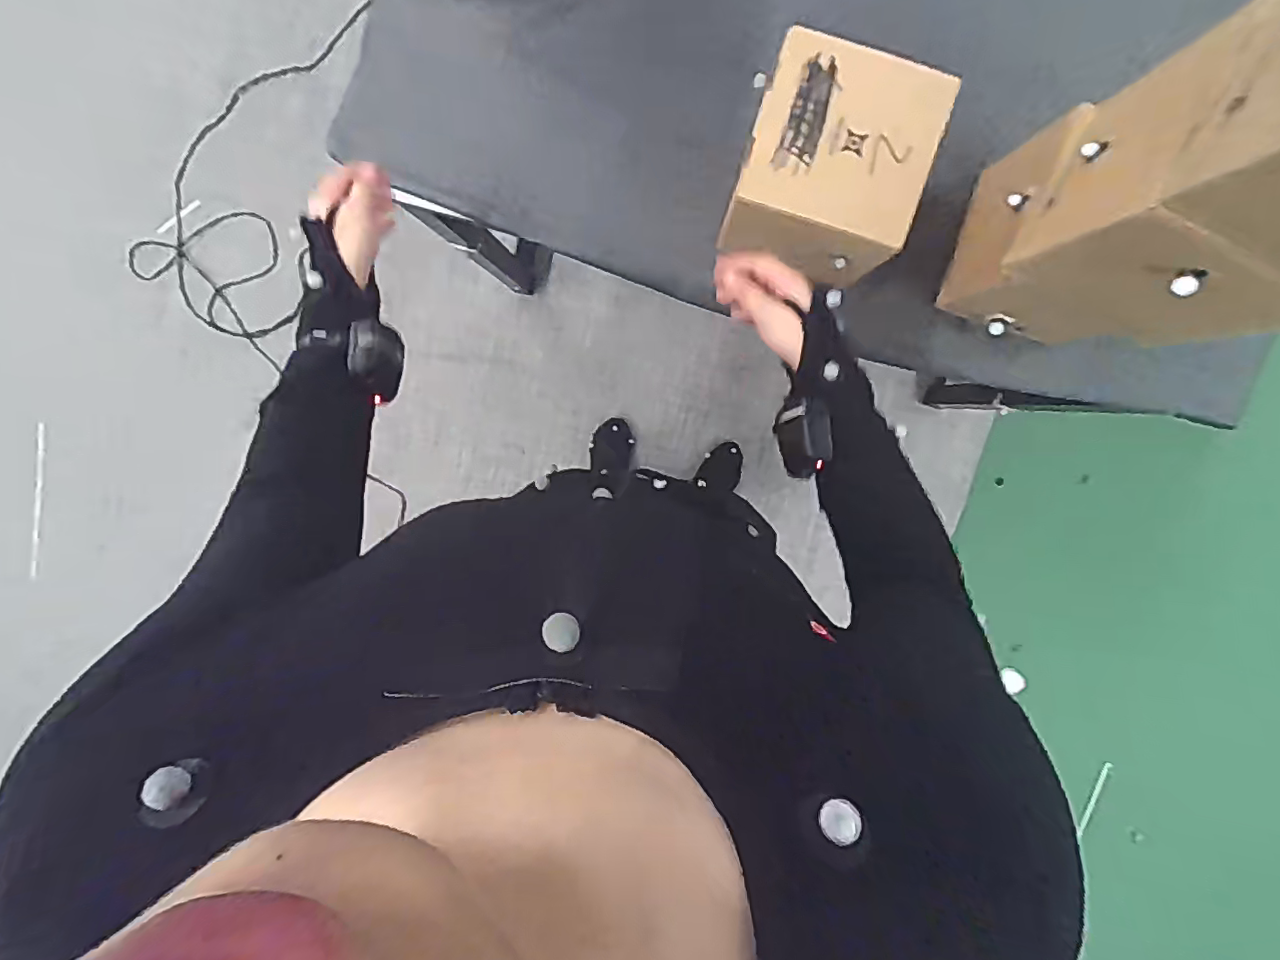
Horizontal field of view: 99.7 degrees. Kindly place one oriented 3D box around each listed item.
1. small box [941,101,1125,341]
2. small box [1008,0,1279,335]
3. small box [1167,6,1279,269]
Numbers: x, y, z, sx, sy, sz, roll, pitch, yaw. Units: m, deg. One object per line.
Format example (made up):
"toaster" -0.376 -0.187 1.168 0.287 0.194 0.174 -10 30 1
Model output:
"small box" 0.479 -0.271 0.611 0.168 0.176 0.179 16 98 0
"small box" 0.470 -0.235 0.452 0.179 0.176 0.168 27 97 -1
"small box" 0.469 -0.214 0.288 0.179 0.176 0.168 29 97 -1
